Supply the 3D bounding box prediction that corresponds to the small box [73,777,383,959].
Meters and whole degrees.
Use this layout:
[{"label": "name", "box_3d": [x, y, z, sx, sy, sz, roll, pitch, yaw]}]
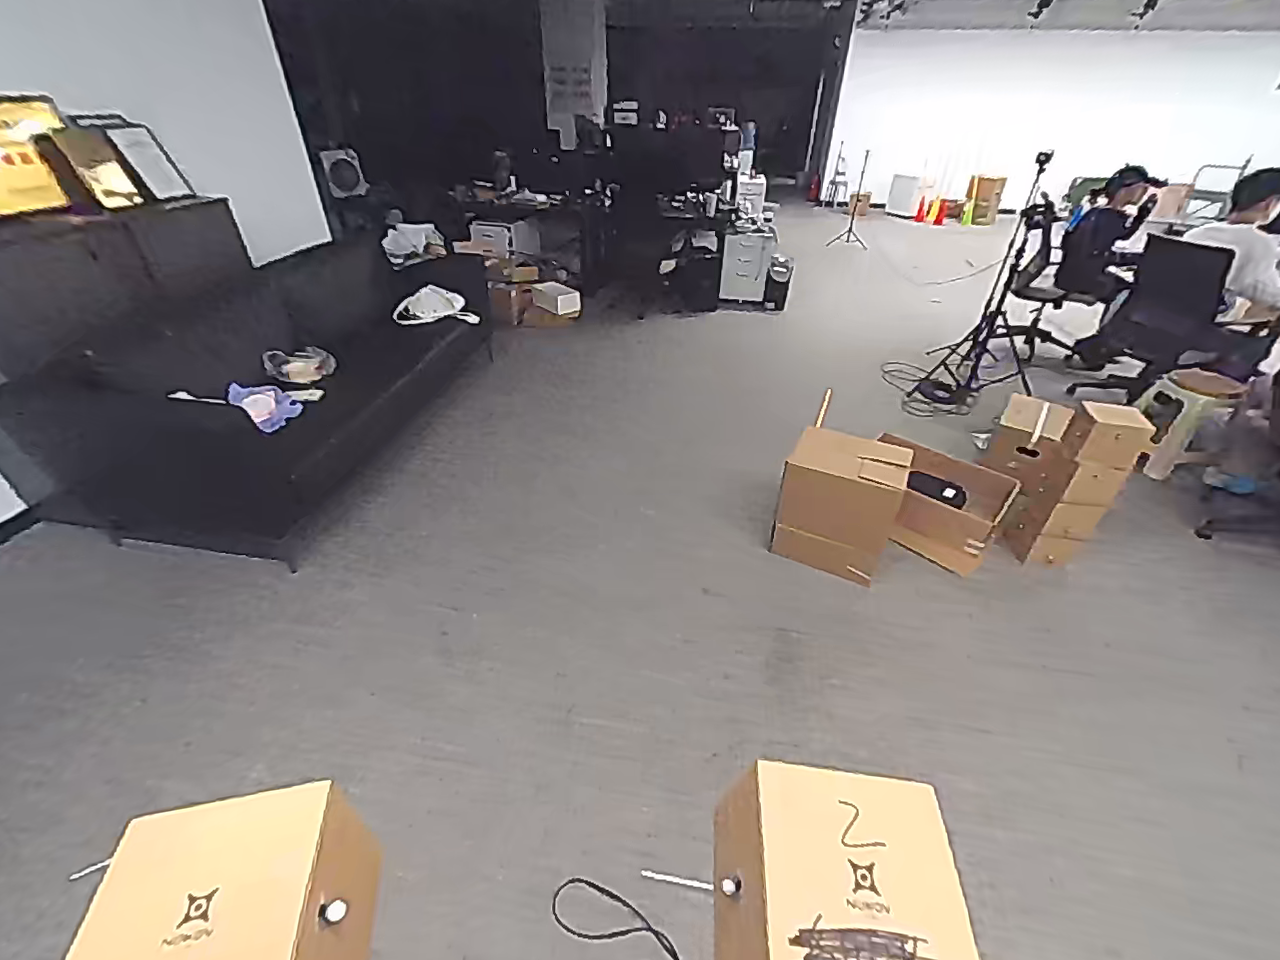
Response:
[{"label": "small box", "box_3d": [-0.342, 0.399, 0.474, 0.168, 0.176, 0.179, -6, 40, -9]}]
